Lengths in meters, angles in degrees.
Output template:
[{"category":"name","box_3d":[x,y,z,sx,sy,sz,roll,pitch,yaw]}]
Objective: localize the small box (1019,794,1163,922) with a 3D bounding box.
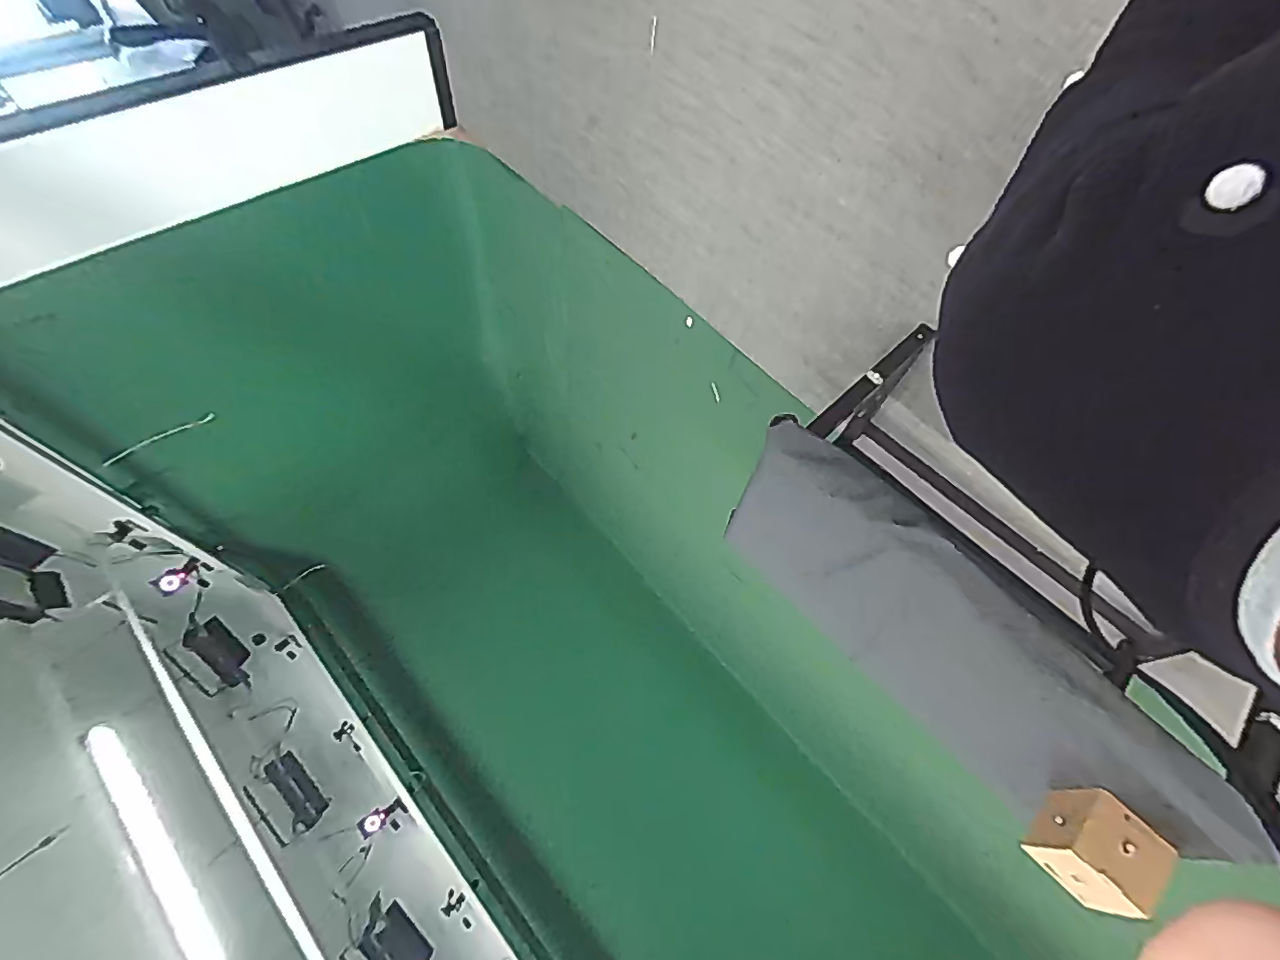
[{"category":"small box","box_3d":[1.015,0.837,1.216,0.168,0.176,0.179,43,154,20]}]
